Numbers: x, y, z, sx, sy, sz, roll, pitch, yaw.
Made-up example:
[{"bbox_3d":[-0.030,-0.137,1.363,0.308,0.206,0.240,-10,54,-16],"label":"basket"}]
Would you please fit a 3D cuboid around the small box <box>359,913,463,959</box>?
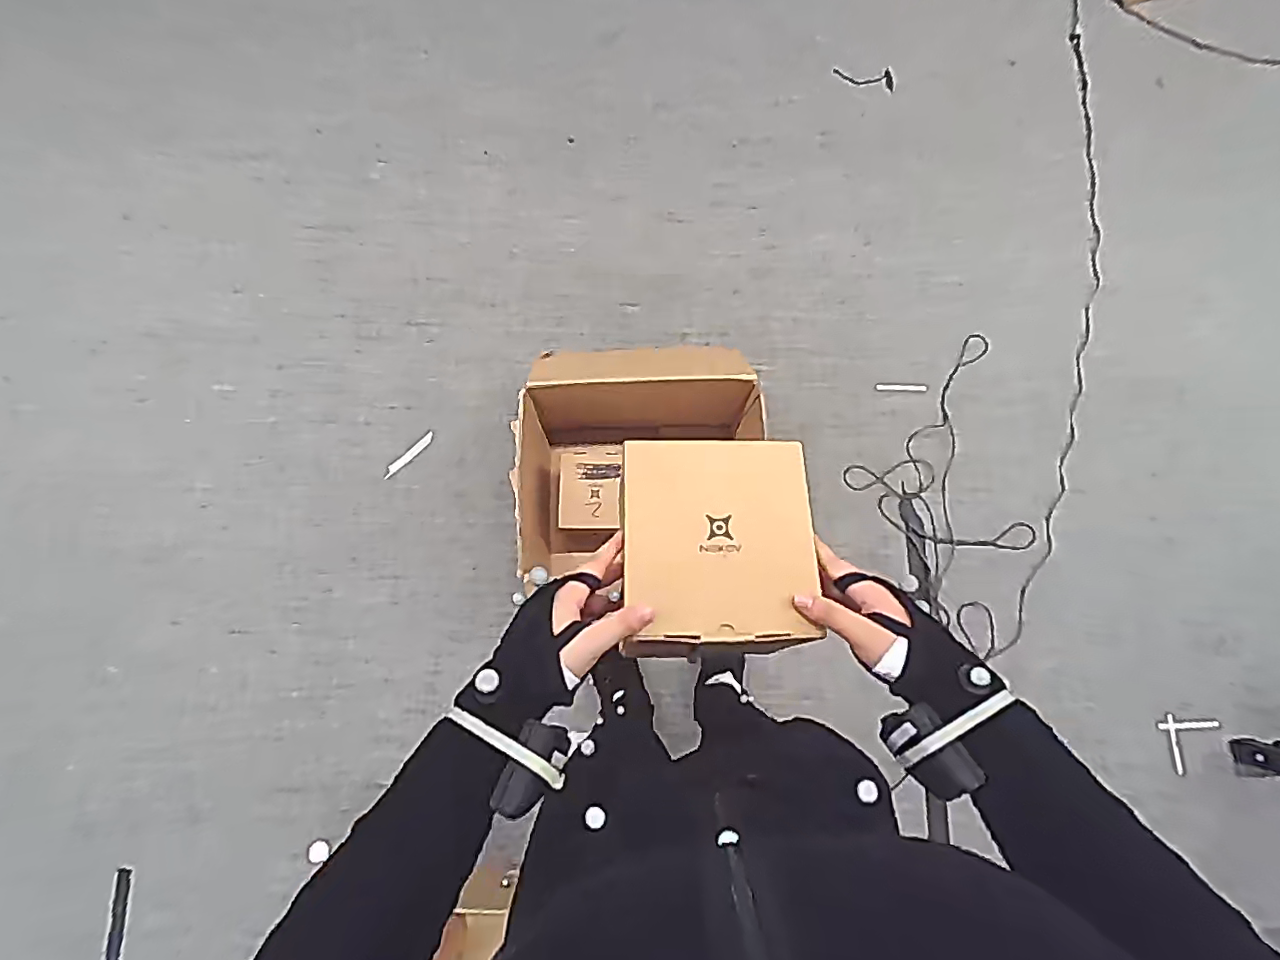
[{"bbox_3d":[-0.462,0.996,1.068,0.179,0.176,0.168,5,79,-3],"label":"small box"}]
